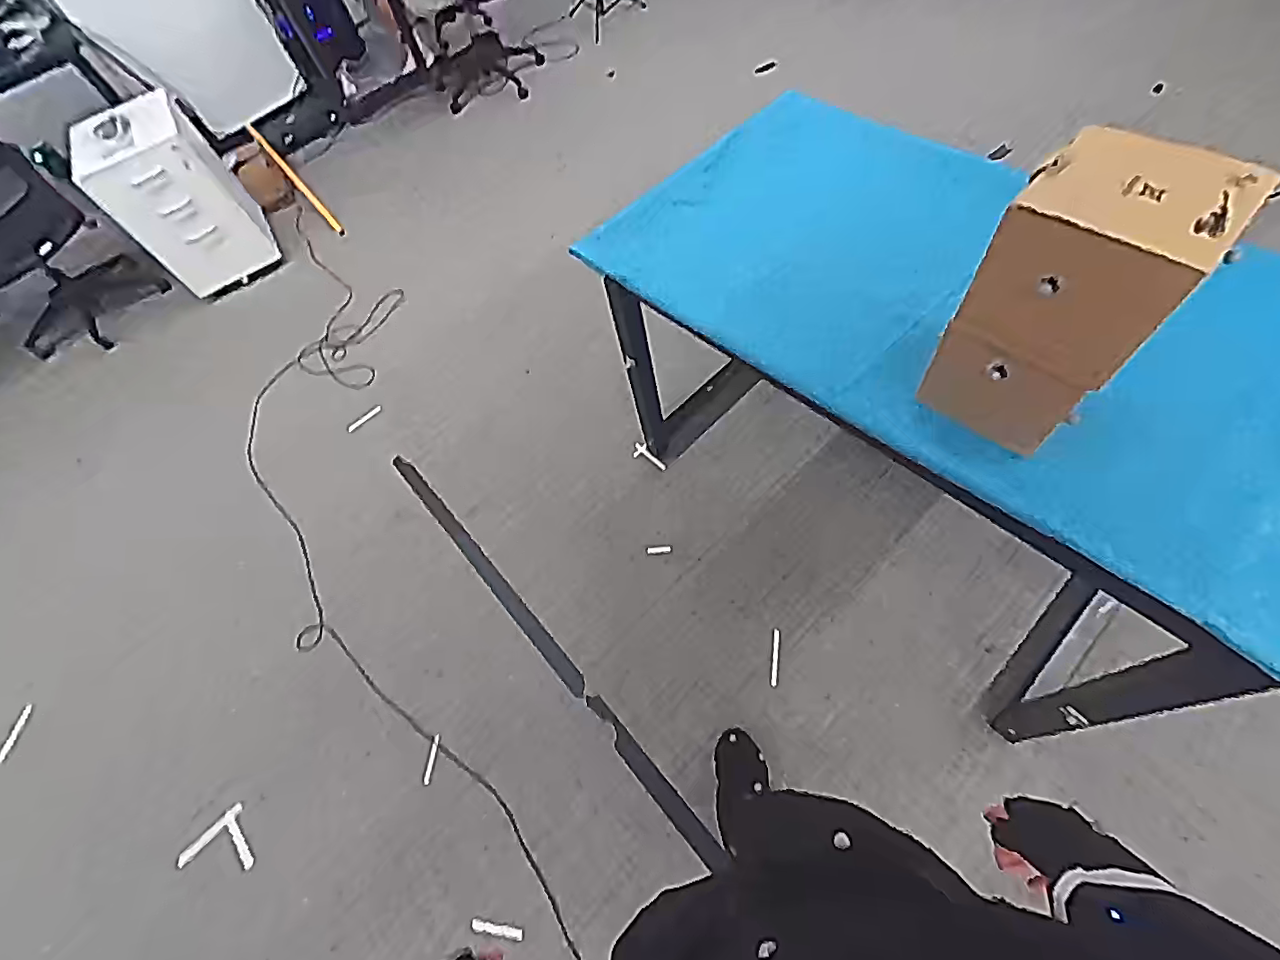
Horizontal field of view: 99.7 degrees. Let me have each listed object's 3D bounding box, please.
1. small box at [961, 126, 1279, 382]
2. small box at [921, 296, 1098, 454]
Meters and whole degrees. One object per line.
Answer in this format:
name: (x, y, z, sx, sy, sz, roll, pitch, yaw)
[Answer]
small box: (0.491, -0.237, 0.585, 0.179, 0.176, 0.168, 36, 72, 25)
small box: (0.517, -0.167, 0.729, 0.168, 0.176, 0.179, -43, 62, -14)
